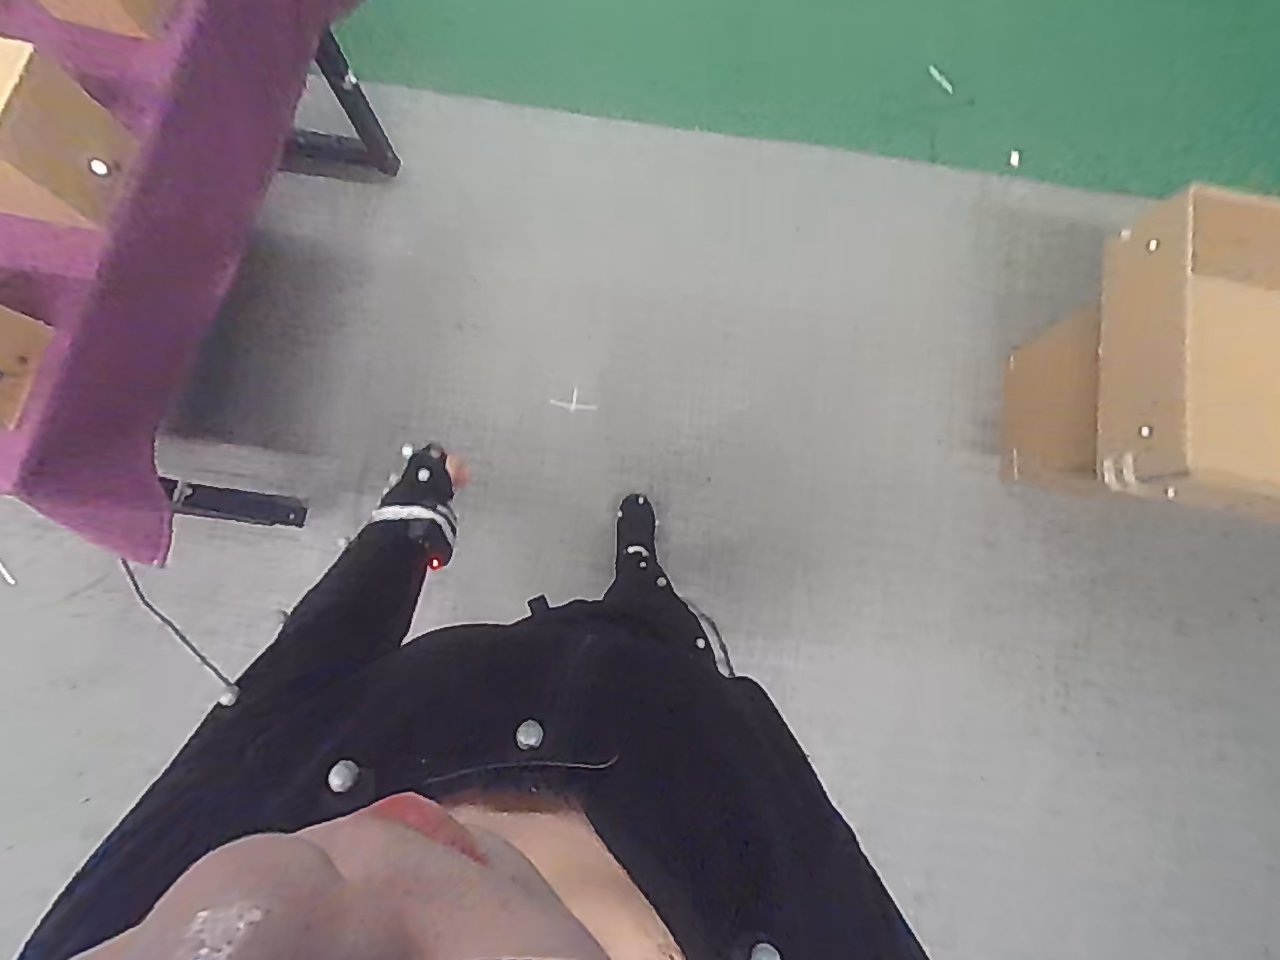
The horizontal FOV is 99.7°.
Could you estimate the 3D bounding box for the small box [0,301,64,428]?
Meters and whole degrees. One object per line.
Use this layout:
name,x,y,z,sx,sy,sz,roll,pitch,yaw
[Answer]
small box,-0.969,-0.180,0.729,0.179,0.176,0.168,10,78,0

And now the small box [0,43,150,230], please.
small box,-0.895,-0.497,0.792,0.179,0.176,0.168,11,79,0
